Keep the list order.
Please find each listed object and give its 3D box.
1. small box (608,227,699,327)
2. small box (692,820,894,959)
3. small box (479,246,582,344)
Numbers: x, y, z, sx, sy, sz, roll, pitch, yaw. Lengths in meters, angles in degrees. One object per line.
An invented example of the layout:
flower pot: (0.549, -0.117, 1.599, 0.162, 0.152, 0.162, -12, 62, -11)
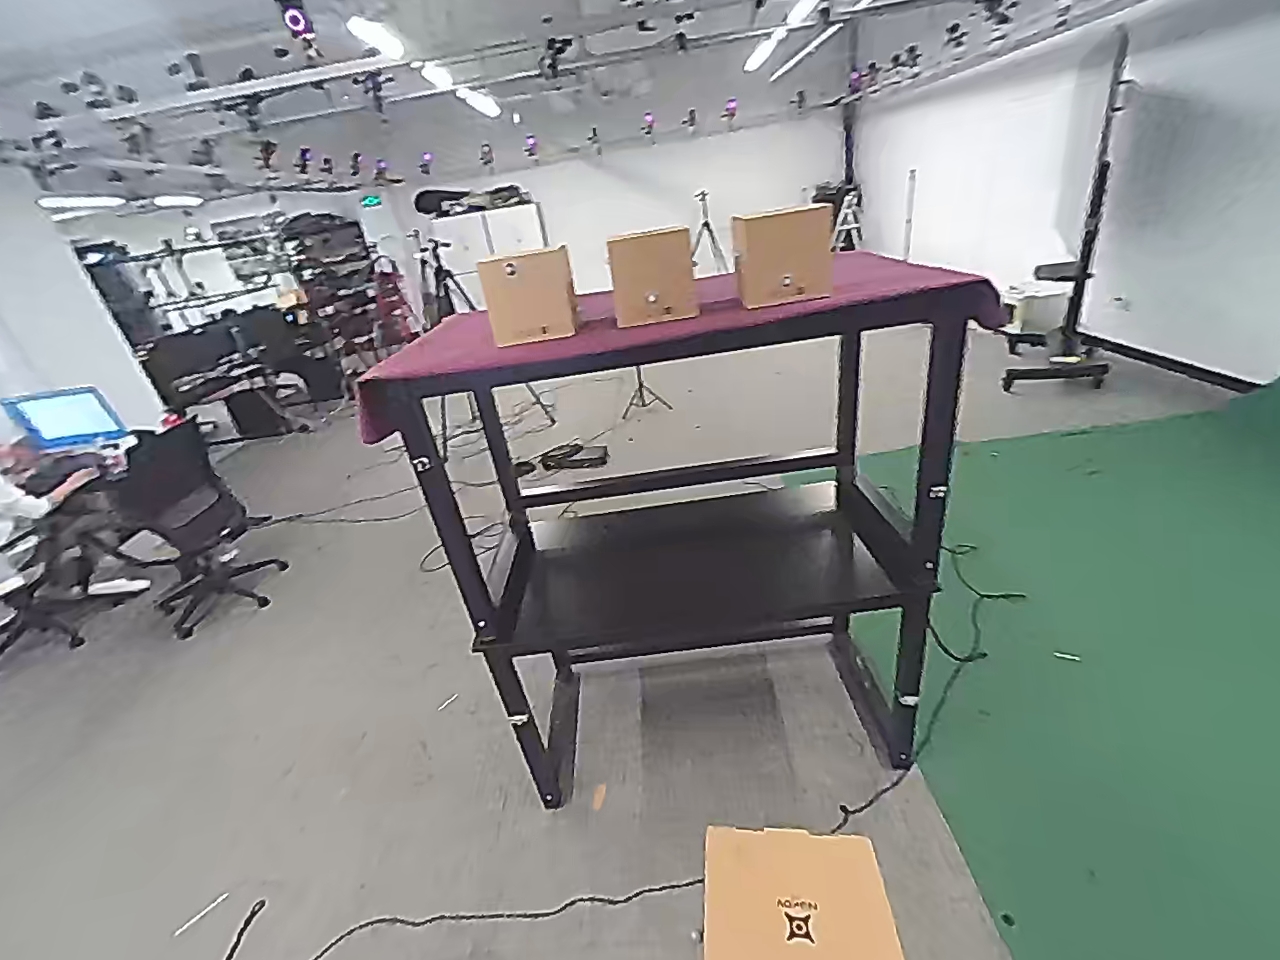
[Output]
small box: (0.030, -0.424, 1.130, 0.168, 0.176, 0.179, -7, 27, 4)
small box: (0.132, 0.457, 0.495, 0.168, 0.176, 0.179, -1, 19, 8)
small box: (-0.221, -0.391, 1.142, 0.168, 0.176, 0.179, -8, 25, 3)
